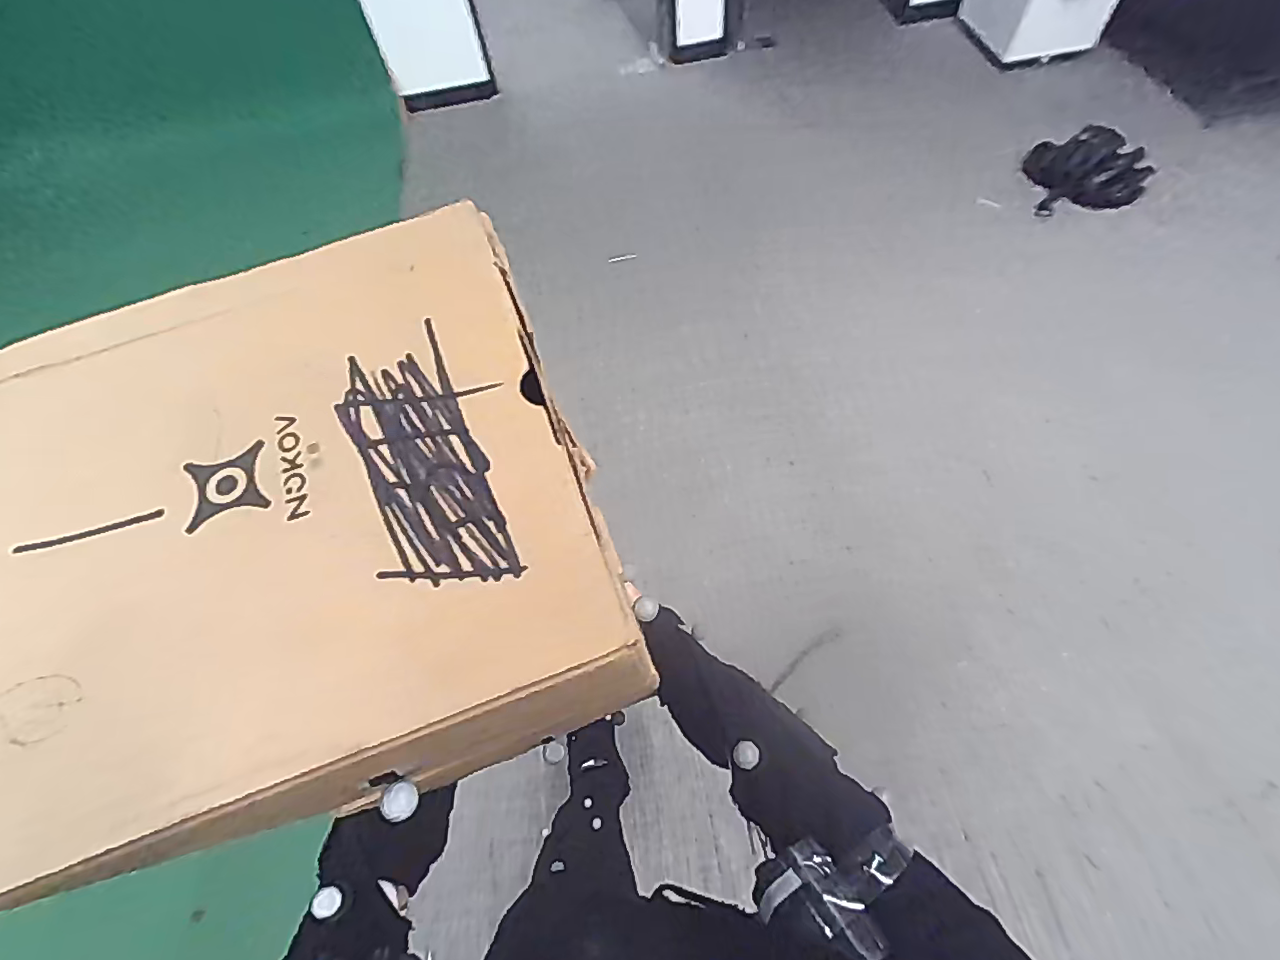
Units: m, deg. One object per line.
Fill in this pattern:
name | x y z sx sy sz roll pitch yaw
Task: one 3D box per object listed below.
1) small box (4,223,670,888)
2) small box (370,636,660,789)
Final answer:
small box | -0.101 0.030 0.243 0.179 0.176 0.168 -22 68 -8
small box | -0.096 0.096 0.392 0.179 0.176 0.168 -20 66 -7
